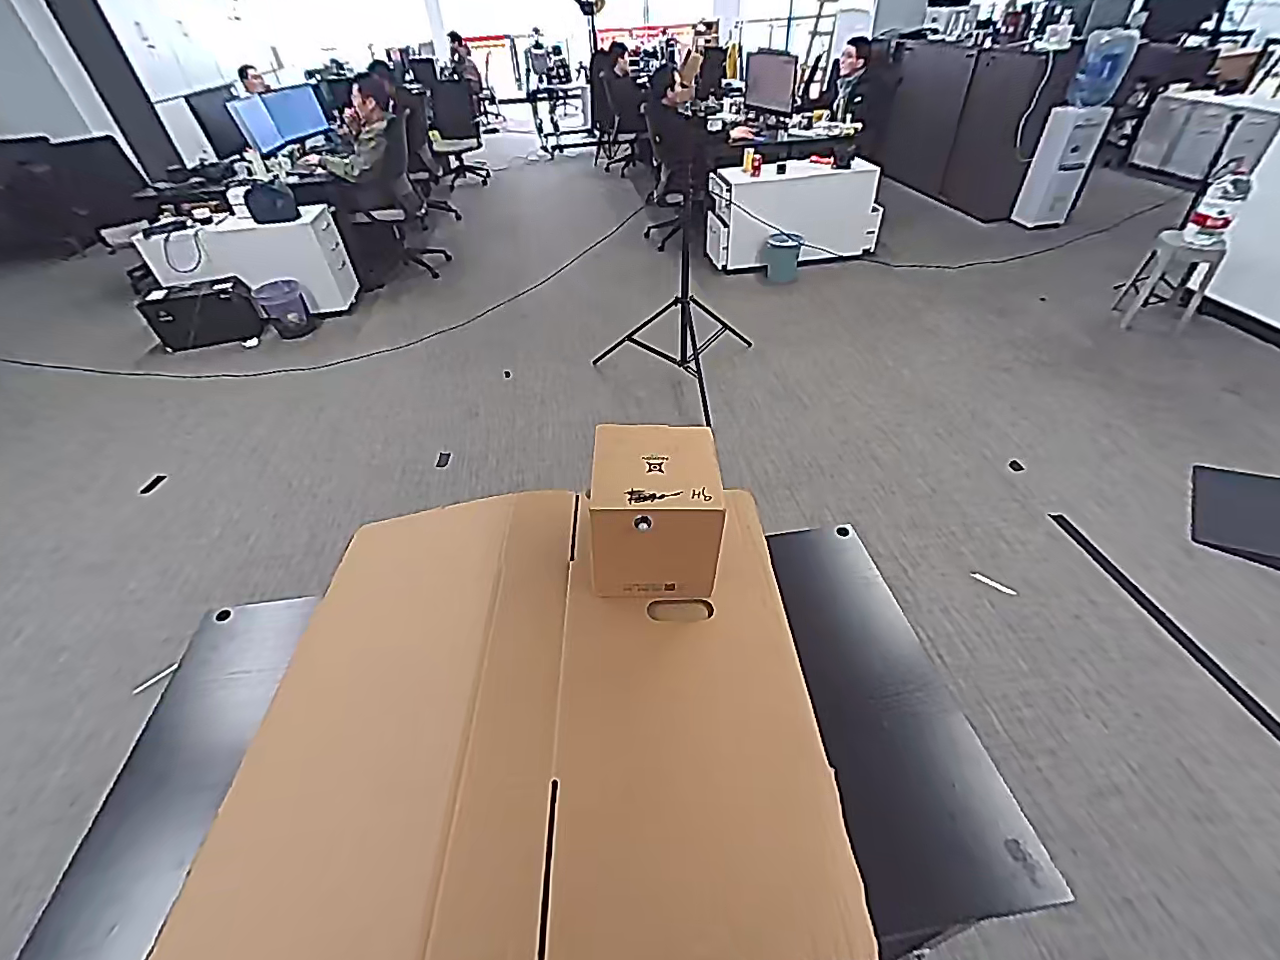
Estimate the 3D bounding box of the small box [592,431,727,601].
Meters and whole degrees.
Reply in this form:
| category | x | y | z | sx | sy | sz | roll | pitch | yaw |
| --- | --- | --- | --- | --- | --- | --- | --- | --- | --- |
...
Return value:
| category | x | y | z | sx | sy | sz | roll | pitch | yaw |
| --- | --- | --- | --- | --- | --- | --- | --- | --- | --- |
| small box | 0.022 | 0.048 | 0.761 | 0.168 | 0.176 | 0.179 | 0 | 39 | -1 |
